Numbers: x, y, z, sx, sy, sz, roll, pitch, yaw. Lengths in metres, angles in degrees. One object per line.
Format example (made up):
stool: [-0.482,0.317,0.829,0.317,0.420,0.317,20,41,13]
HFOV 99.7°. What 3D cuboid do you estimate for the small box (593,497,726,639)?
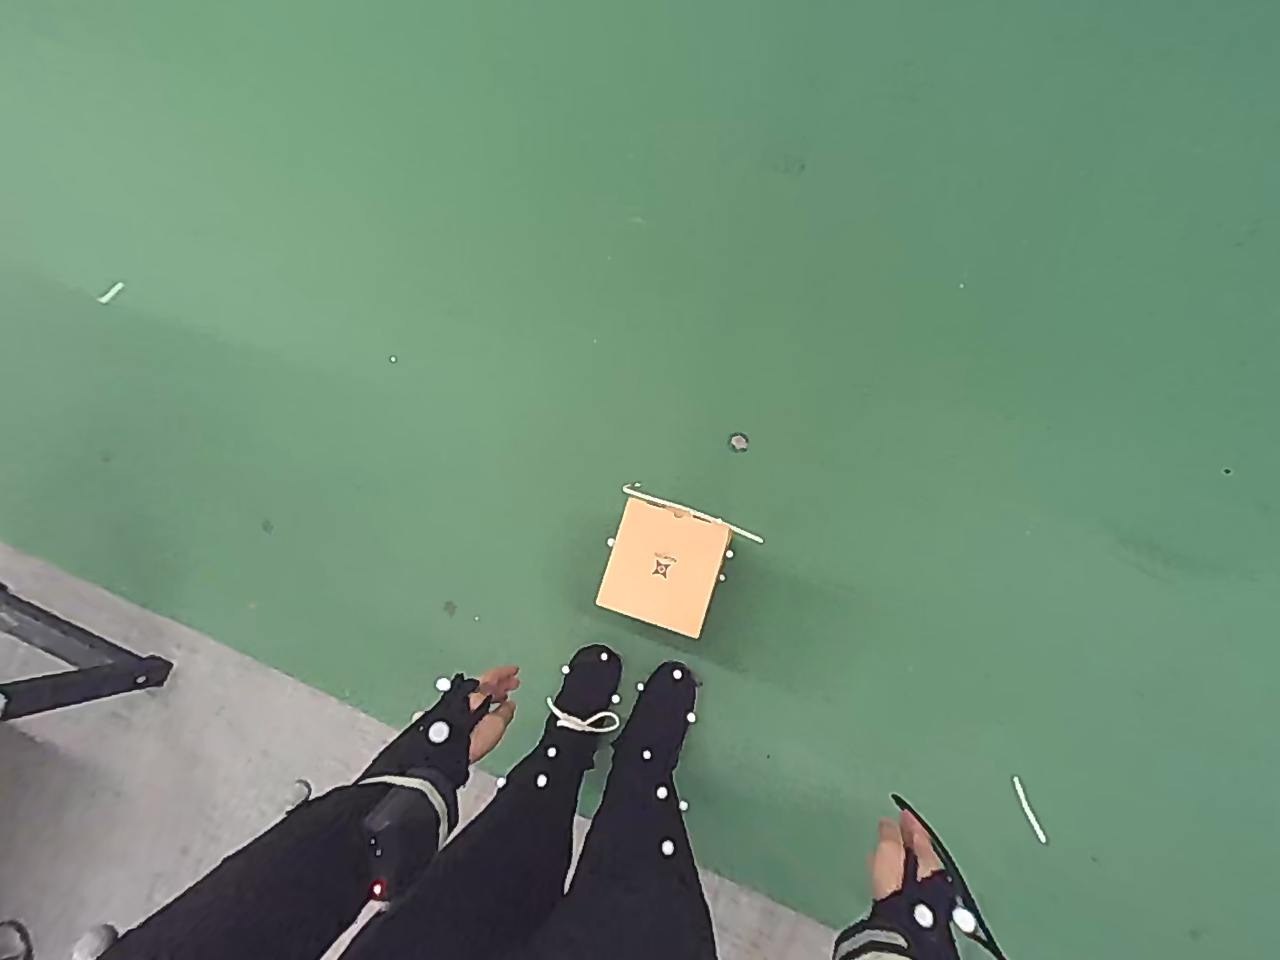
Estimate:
small box: [0.040,0.142,0.895,0.168,0.176,0.179,17,84,9]
